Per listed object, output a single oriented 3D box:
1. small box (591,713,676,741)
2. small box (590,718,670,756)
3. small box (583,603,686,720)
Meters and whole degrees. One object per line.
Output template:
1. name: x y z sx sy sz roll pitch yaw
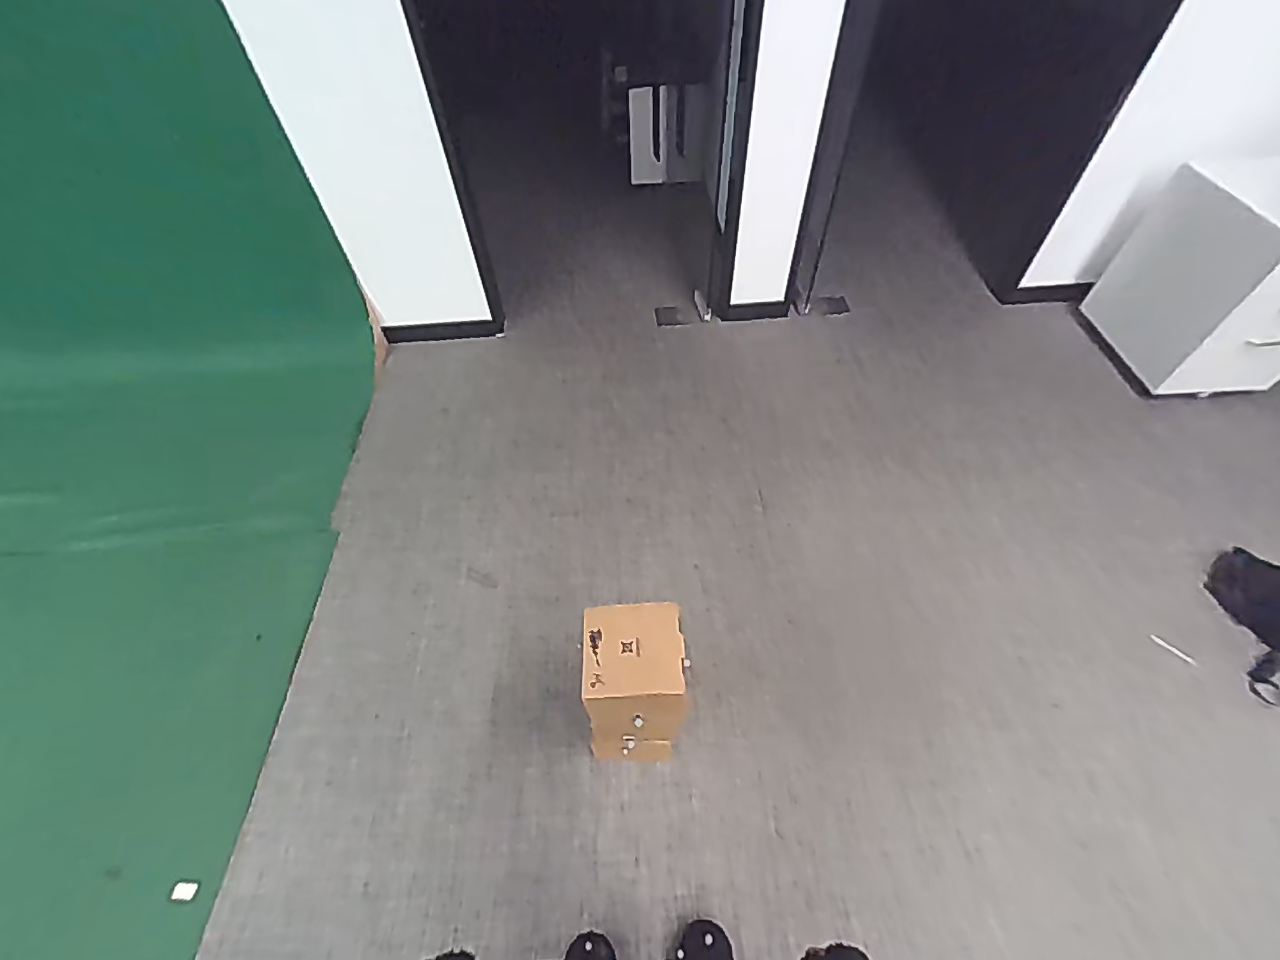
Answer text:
1. small box: -0.011 0.441 1.149 0.168 0.176 0.179 -4 53 2
2. small box: -0.018 0.544 1.274 0.179 0.176 0.168 -1 52 1
3. small box: -0.009 0.344 1.017 0.179 0.176 0.168 -3 52 1
